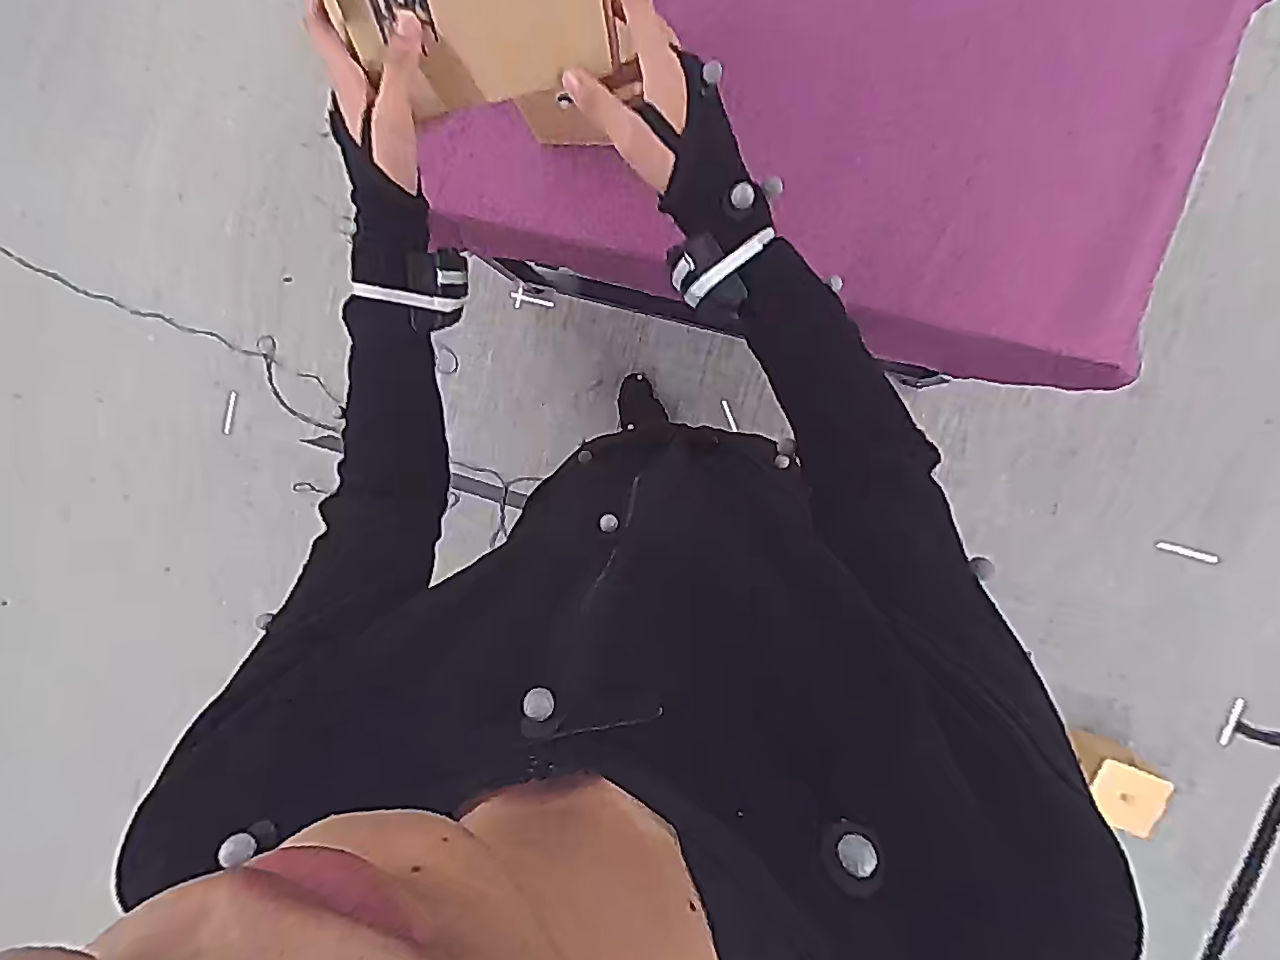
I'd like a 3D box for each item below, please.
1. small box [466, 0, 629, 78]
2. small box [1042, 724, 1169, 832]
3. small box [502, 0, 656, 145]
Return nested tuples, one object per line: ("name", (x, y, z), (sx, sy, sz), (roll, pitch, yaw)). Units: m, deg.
("small box", (-0.104, -0.590, 0.598), (0.168, 0.176, 0.179), (4, 96, 7))
("small box", (1.254, 0.800, 1.474), (0.179, 0.176, 0.168), (20, 98, 4))
("small box", (-0.077, -0.599, 0.760), (0.179, 0.176, 0.168), (5, 97, 6))
